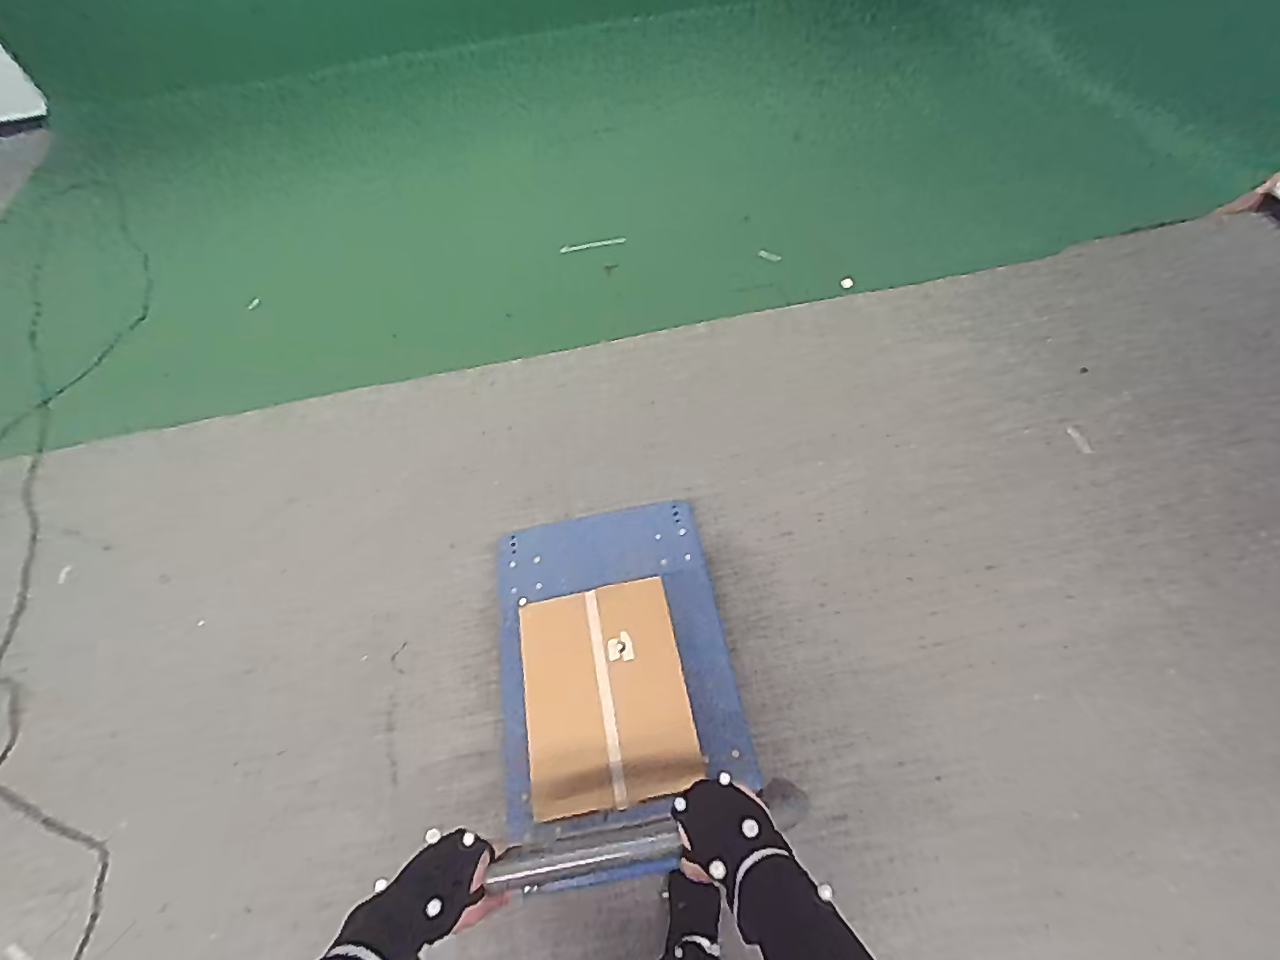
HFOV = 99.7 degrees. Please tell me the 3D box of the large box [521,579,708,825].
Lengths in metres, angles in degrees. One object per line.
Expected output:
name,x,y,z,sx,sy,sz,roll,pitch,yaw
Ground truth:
large box,-0.053,0.486,1.179,0.320,0.320,0.408,-12,57,-2
